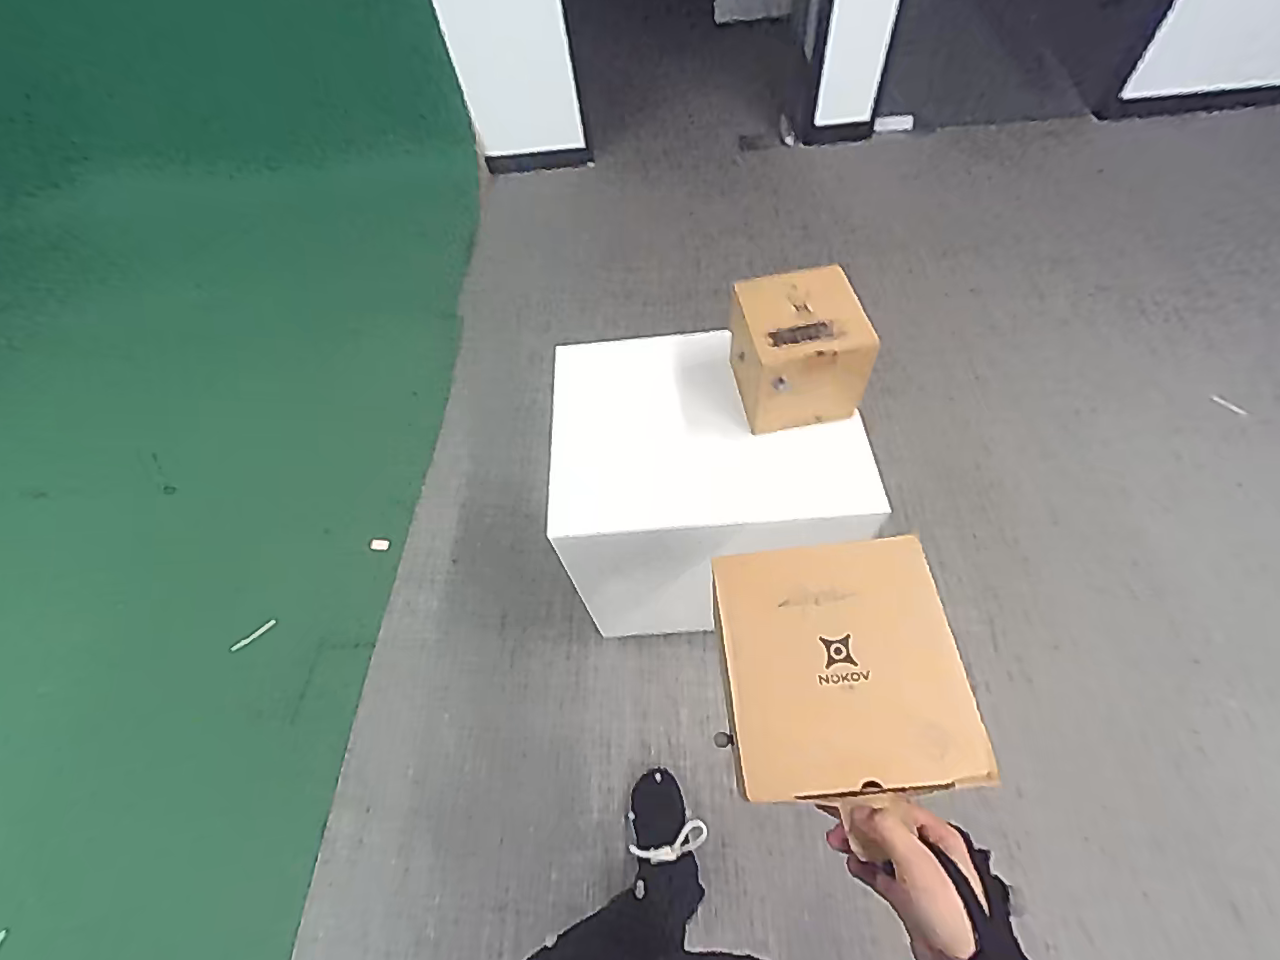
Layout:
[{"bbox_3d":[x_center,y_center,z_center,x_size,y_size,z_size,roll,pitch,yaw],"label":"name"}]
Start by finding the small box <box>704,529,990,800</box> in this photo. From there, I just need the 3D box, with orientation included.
[{"bbox_3d":[0.150,0.163,0.464,0.168,0.176,0.179,-8,60,2],"label":"small box"}]
